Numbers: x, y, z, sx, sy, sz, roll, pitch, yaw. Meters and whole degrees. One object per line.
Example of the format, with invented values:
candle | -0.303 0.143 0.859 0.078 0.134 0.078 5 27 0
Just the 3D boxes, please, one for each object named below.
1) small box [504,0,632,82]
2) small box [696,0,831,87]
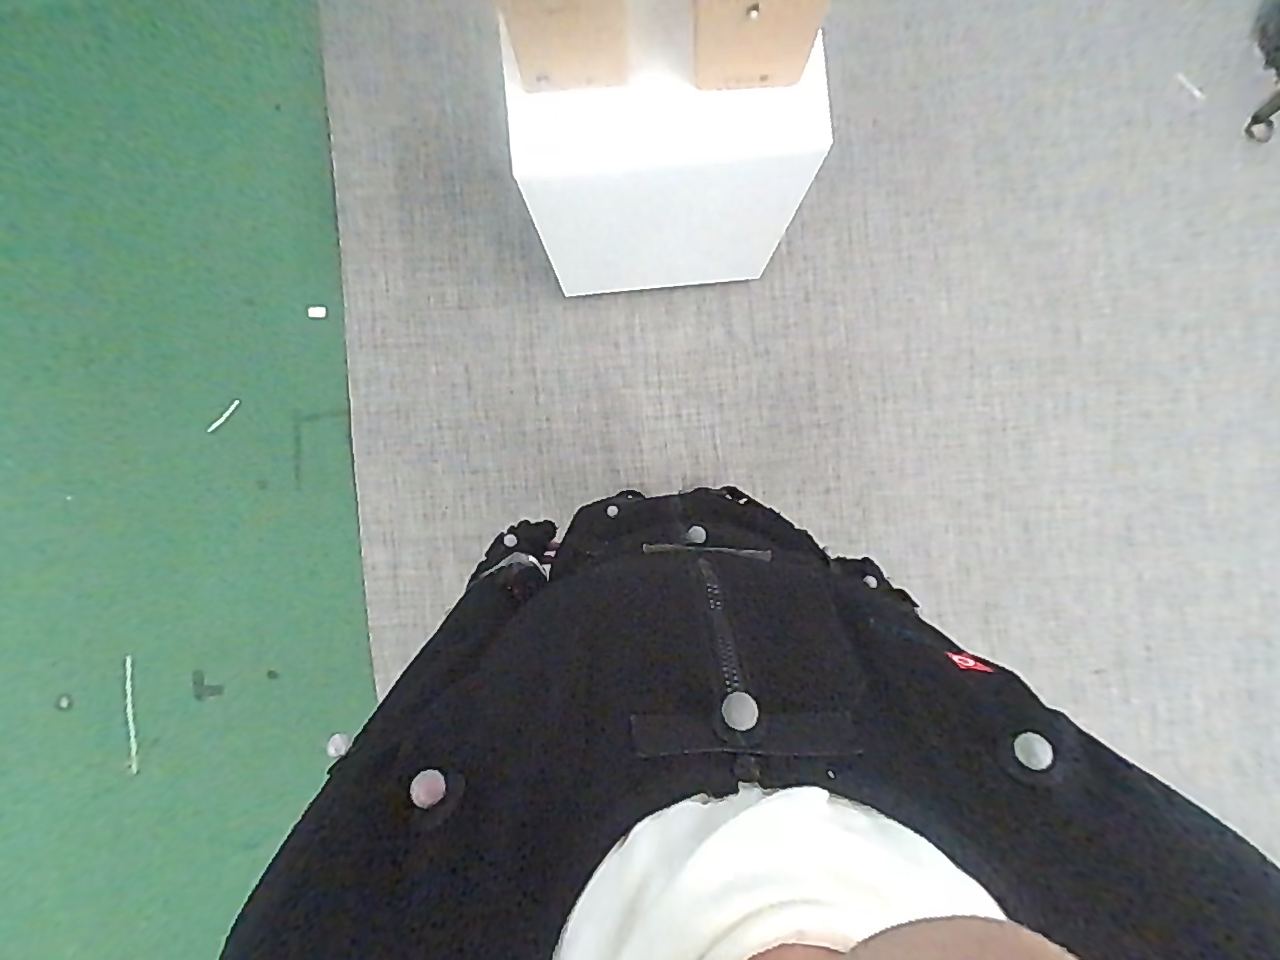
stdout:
small box | -0.100 -0.710 0.776 0.168 0.176 0.179 -4 89 0
small box | 0.168 -0.708 0.772 0.168 0.176 0.179 -1 89 2
